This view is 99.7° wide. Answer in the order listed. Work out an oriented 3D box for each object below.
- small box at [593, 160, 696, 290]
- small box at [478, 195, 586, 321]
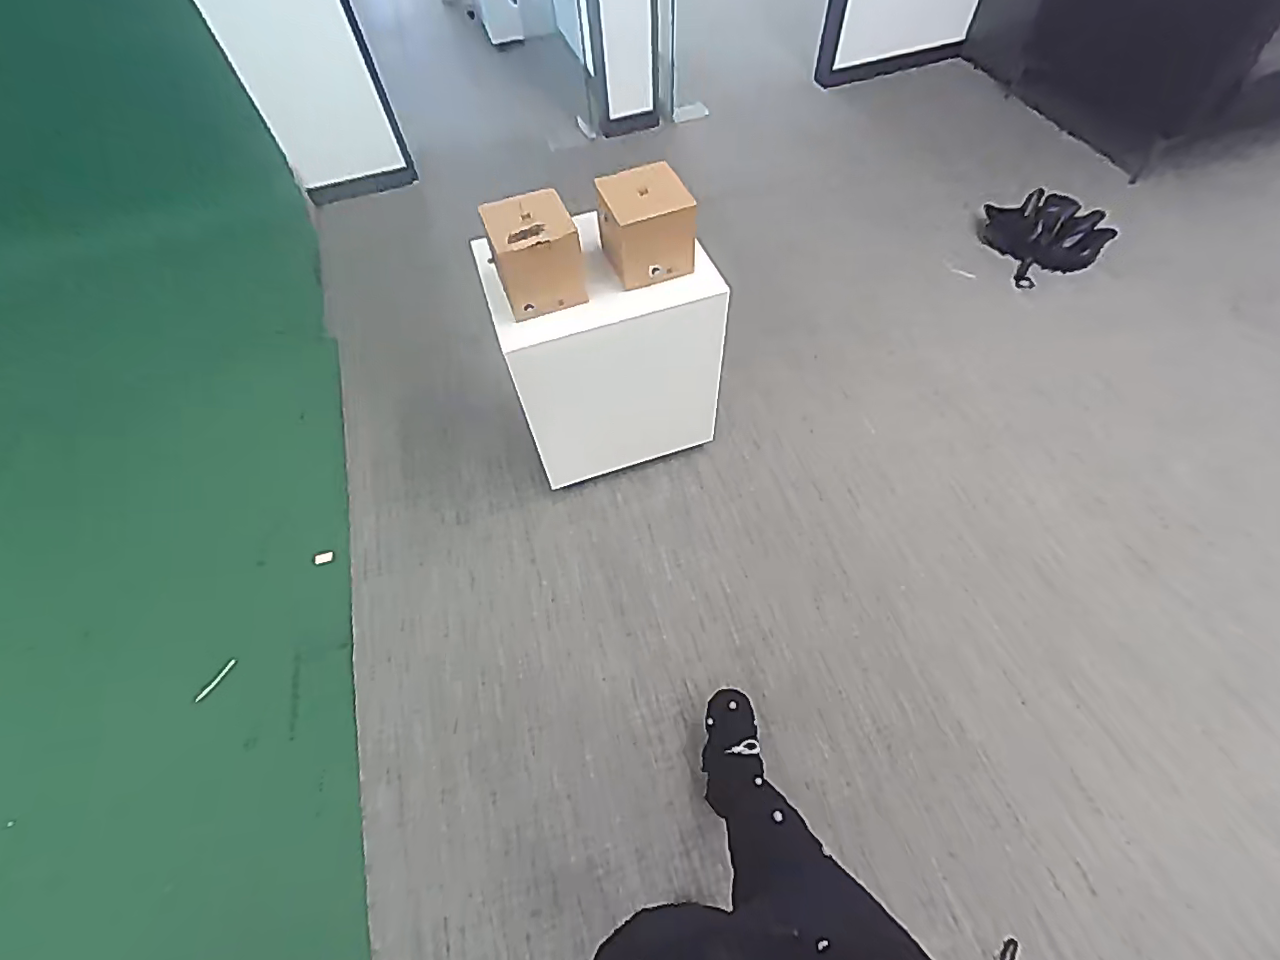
[{"bbox_3d":[0.009,-0.544,1.162,0.168,0.176,0.179,-20,61,-8],"label":"small box"},{"bbox_3d":[-0.223,-0.460,1.142,0.168,0.176,0.179,-20,58,-9],"label":"small box"}]
